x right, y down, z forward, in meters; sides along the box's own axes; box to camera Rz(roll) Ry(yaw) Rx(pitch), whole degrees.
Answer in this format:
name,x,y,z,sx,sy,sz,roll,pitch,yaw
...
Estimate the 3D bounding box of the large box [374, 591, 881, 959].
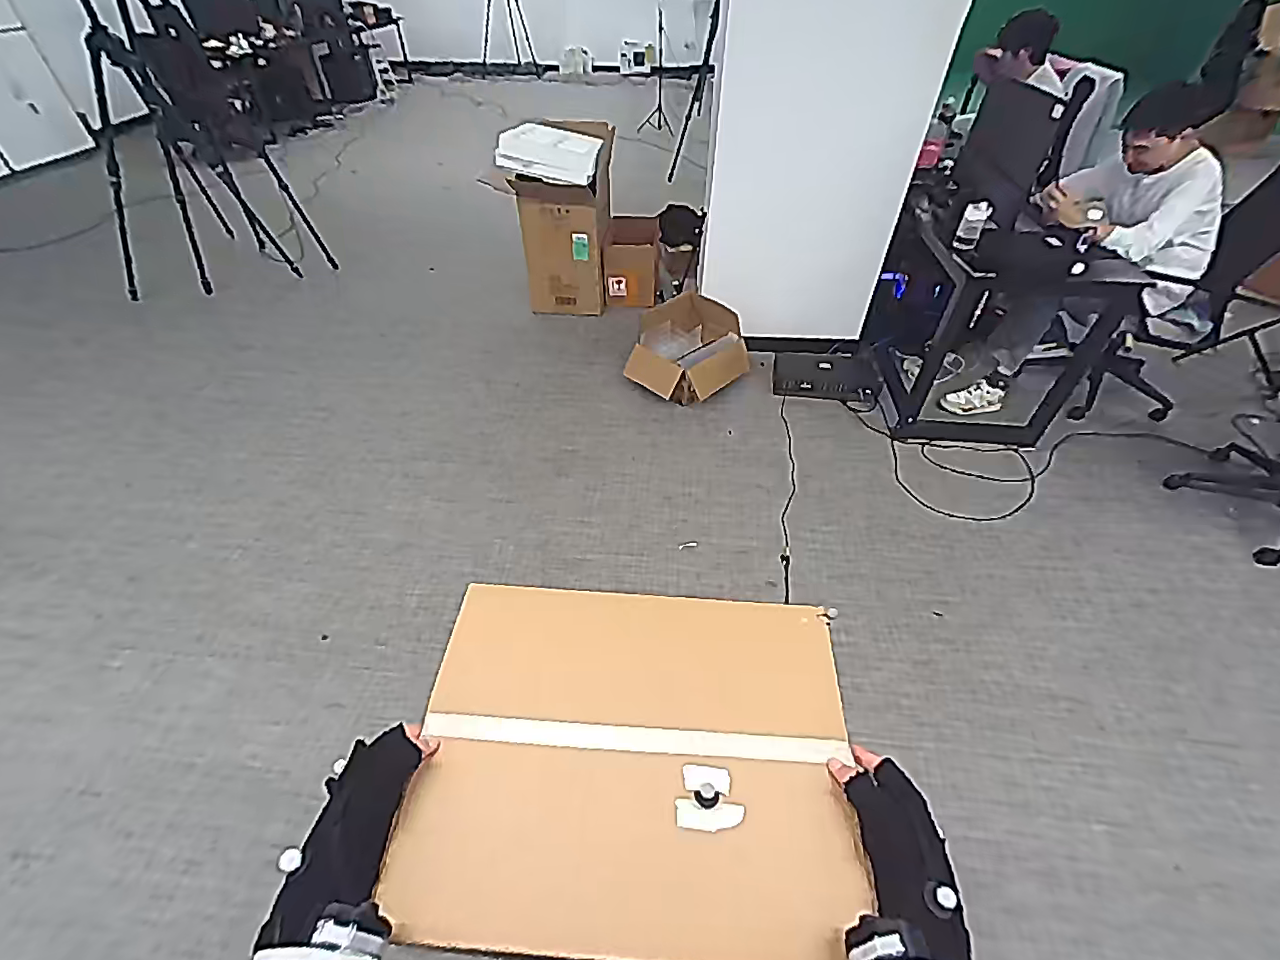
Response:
name,x,y,z,sx,sy,sz,roll,pitch,yaw
large box,-0.009,0.352,0.624,0.408,0.320,0.320,4,47,1
